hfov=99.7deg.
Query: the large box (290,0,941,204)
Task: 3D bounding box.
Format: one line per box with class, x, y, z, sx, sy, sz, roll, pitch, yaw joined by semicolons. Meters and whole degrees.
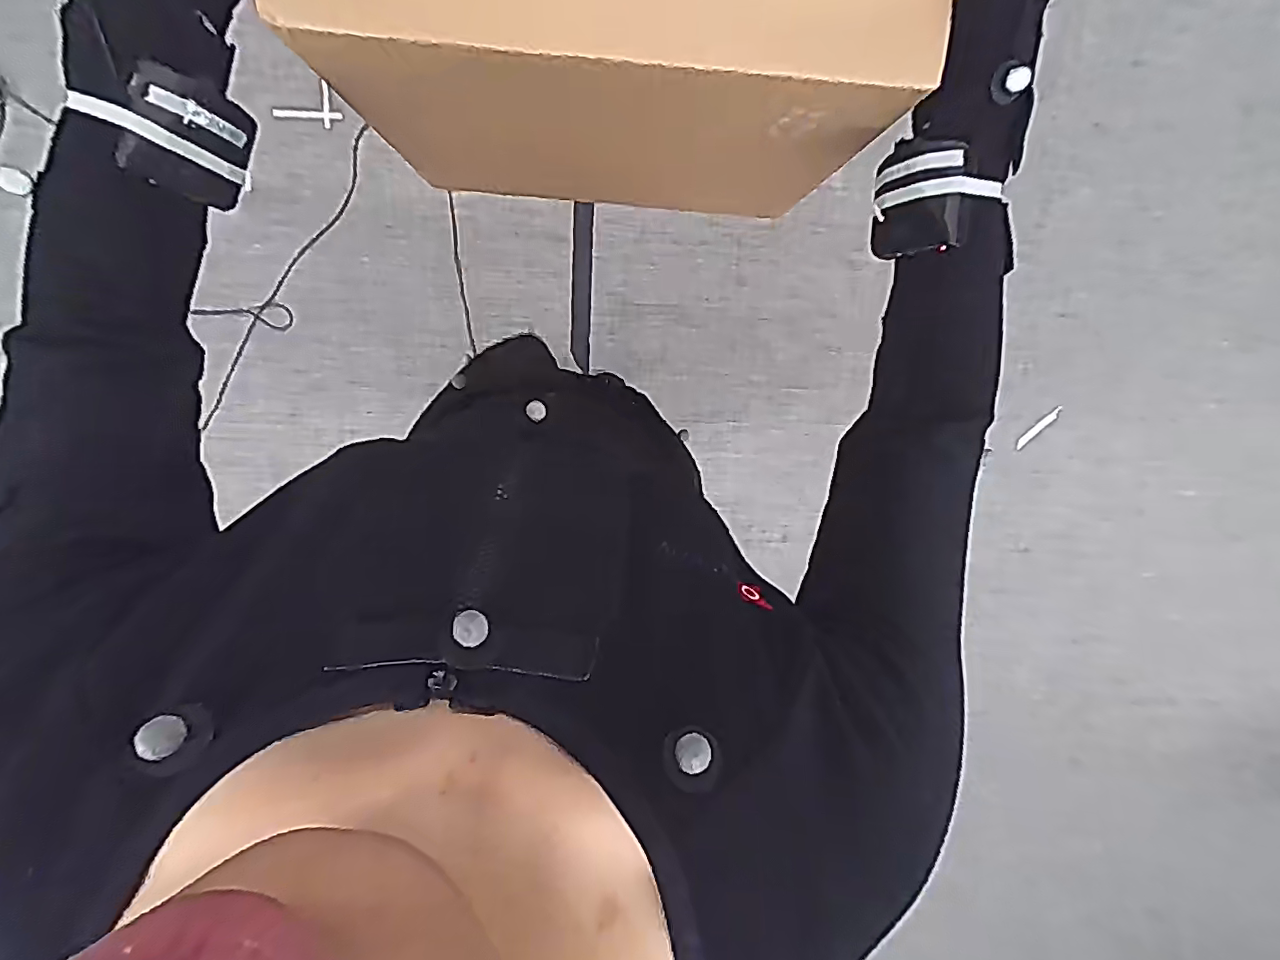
large box;-0.015;-0.445;0.446;0.408;0.320;0.320;2;103;-5
